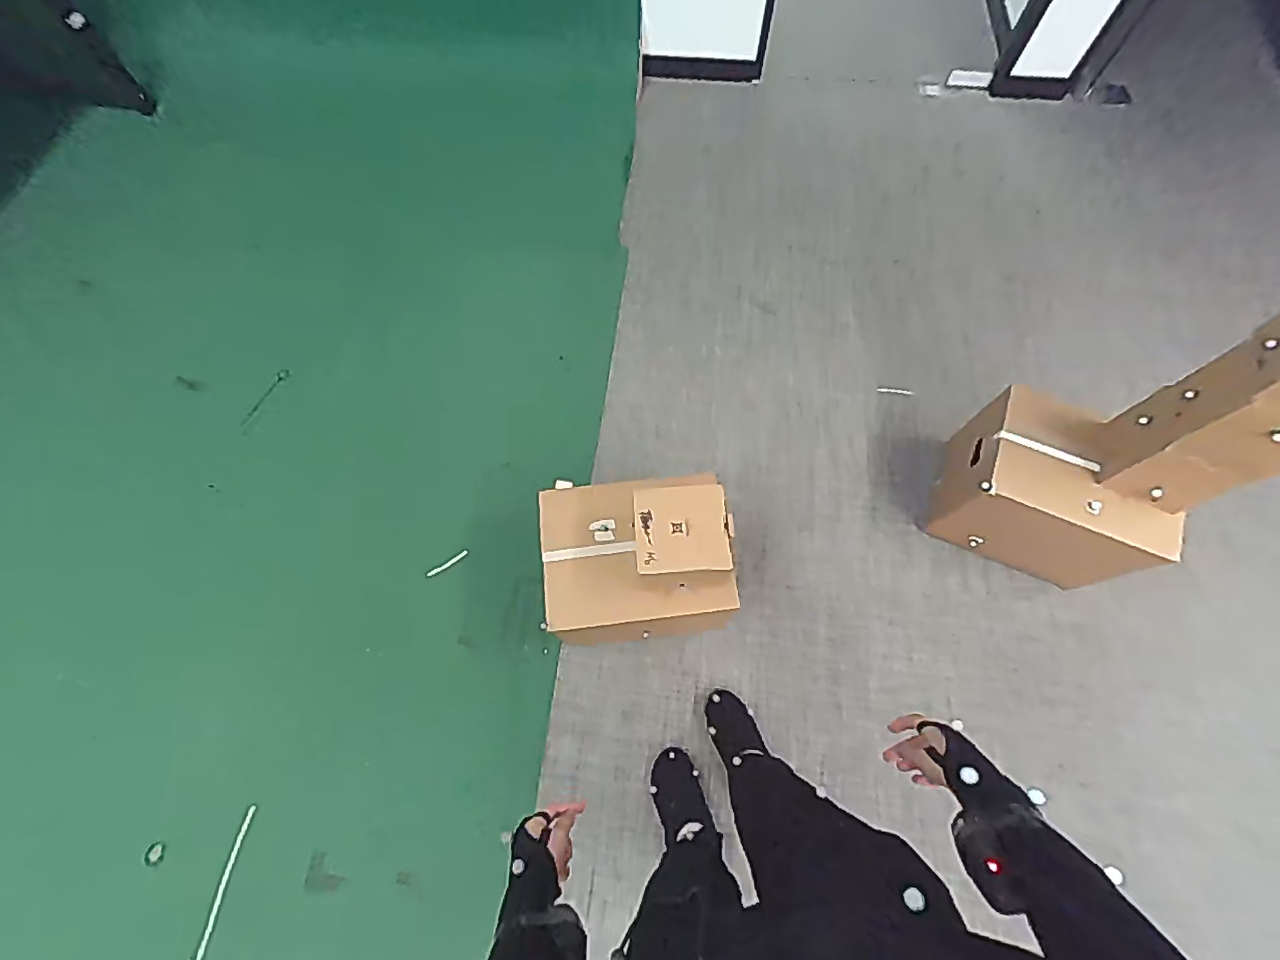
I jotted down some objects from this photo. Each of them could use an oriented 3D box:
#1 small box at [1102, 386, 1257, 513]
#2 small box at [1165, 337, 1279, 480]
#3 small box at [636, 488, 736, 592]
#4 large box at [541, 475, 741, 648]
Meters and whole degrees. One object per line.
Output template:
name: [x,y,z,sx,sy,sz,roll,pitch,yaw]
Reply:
small box: [1.123,-0.059,1.135,0.168,0.176,0.179,24,68,10]
small box: [1.131,-0.121,0.986,0.179,0.176,0.168,25,68,11]
small box: [0.082,0.122,1.067,0.179,0.176,0.168,-3,68,-1]
large box: [-0.002,0.210,1.298,0.408,0.320,0.320,-7,67,-1]
